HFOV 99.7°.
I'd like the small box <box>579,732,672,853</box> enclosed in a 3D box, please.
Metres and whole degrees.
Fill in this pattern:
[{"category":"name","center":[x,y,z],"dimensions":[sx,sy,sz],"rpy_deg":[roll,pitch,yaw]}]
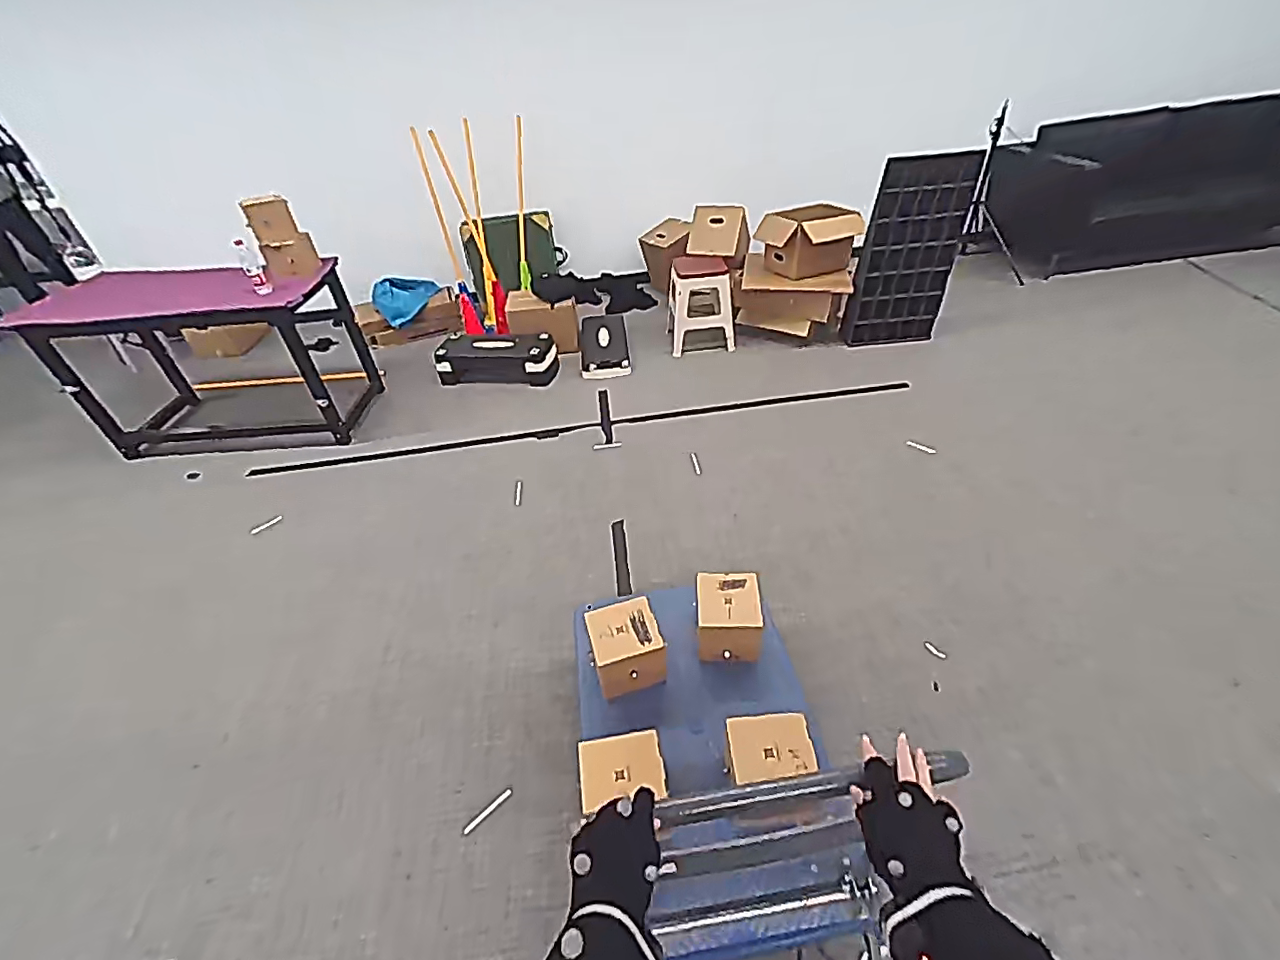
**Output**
[{"category":"small box","center":[-0.031,0.677,1.169],"dimensions":[0.179,0.176,0.168],"rpy_deg":[-8,40,-6]}]

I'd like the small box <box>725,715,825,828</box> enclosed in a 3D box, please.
[{"category":"small box","center":[0.285,0.638,1.180],"dimensions":[0.179,0.176,0.168],"rpy_deg":[-5,41,0]}]

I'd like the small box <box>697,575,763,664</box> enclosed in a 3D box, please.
[{"category":"small box","center":[0.241,0.381,1.487],"dimensions":[0.168,0.176,0.179],"rpy_deg":[-1,41,5]}]
